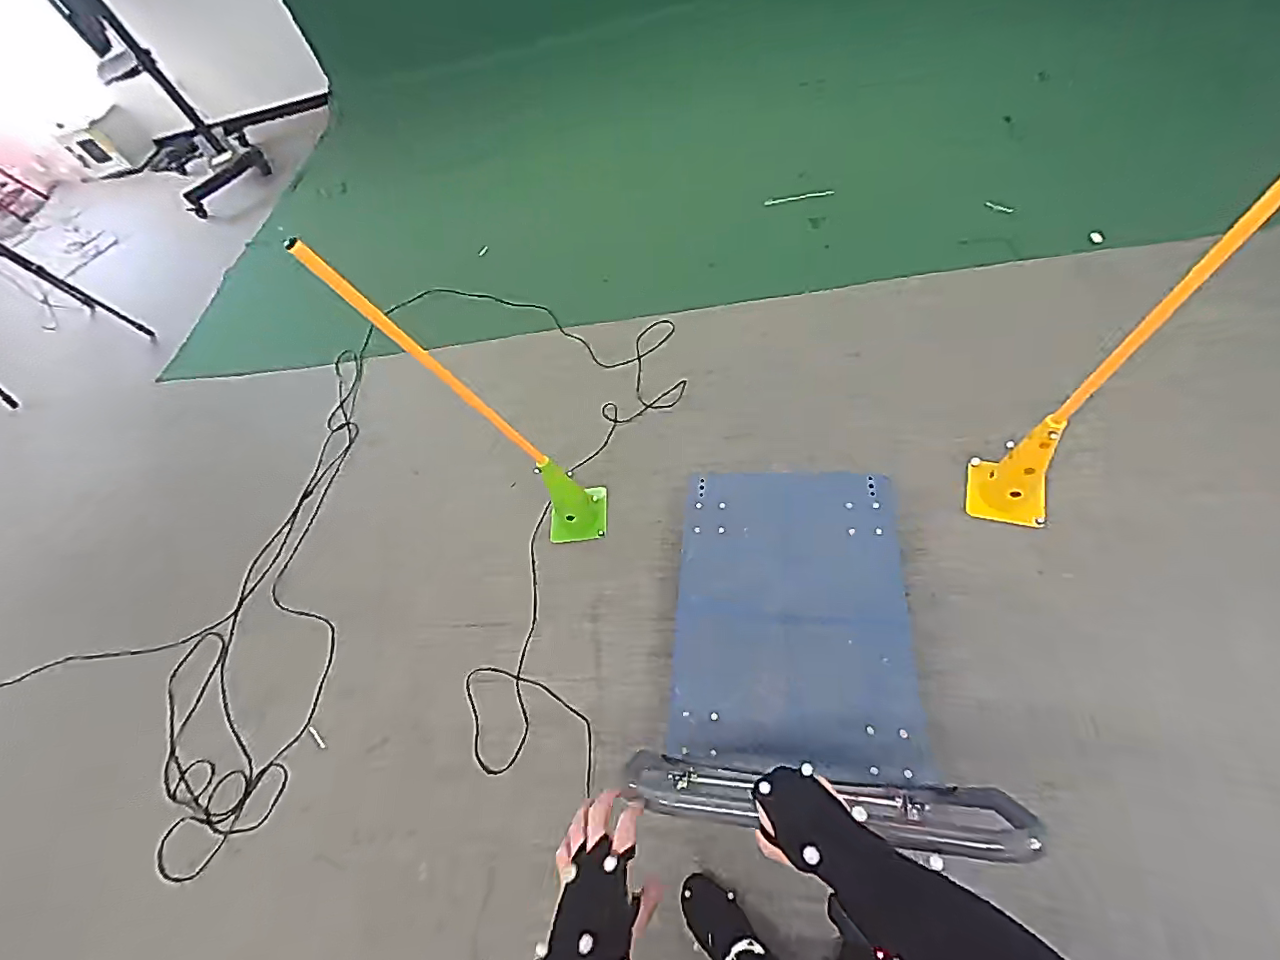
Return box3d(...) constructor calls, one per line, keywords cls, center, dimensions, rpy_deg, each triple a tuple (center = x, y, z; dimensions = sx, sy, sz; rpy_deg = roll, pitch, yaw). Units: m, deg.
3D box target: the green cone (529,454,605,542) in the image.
box3d(cls="green cone", center=(-0.260, 0.026, 1.734), dimensions=(0.202, 0.368, 0.200), rpy_deg=(-9, 57, 11))
